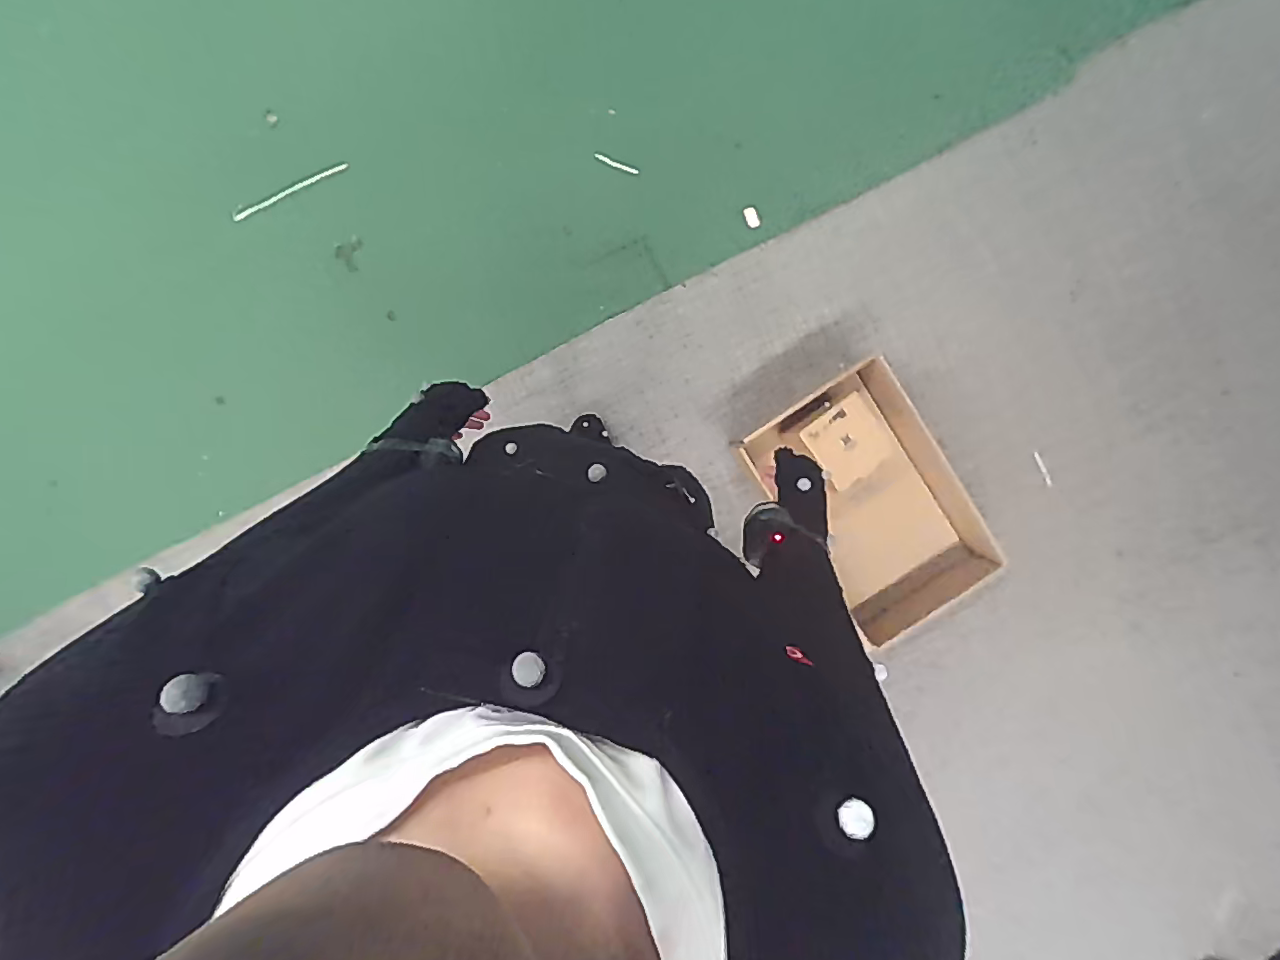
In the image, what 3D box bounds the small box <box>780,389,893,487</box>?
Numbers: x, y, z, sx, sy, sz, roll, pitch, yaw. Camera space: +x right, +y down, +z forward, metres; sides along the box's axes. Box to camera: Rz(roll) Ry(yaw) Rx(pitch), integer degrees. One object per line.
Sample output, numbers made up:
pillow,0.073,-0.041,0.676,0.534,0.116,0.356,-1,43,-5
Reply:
small box,0.475,-0.106,1.331,0.168,0.176,0.179,-36,96,1
